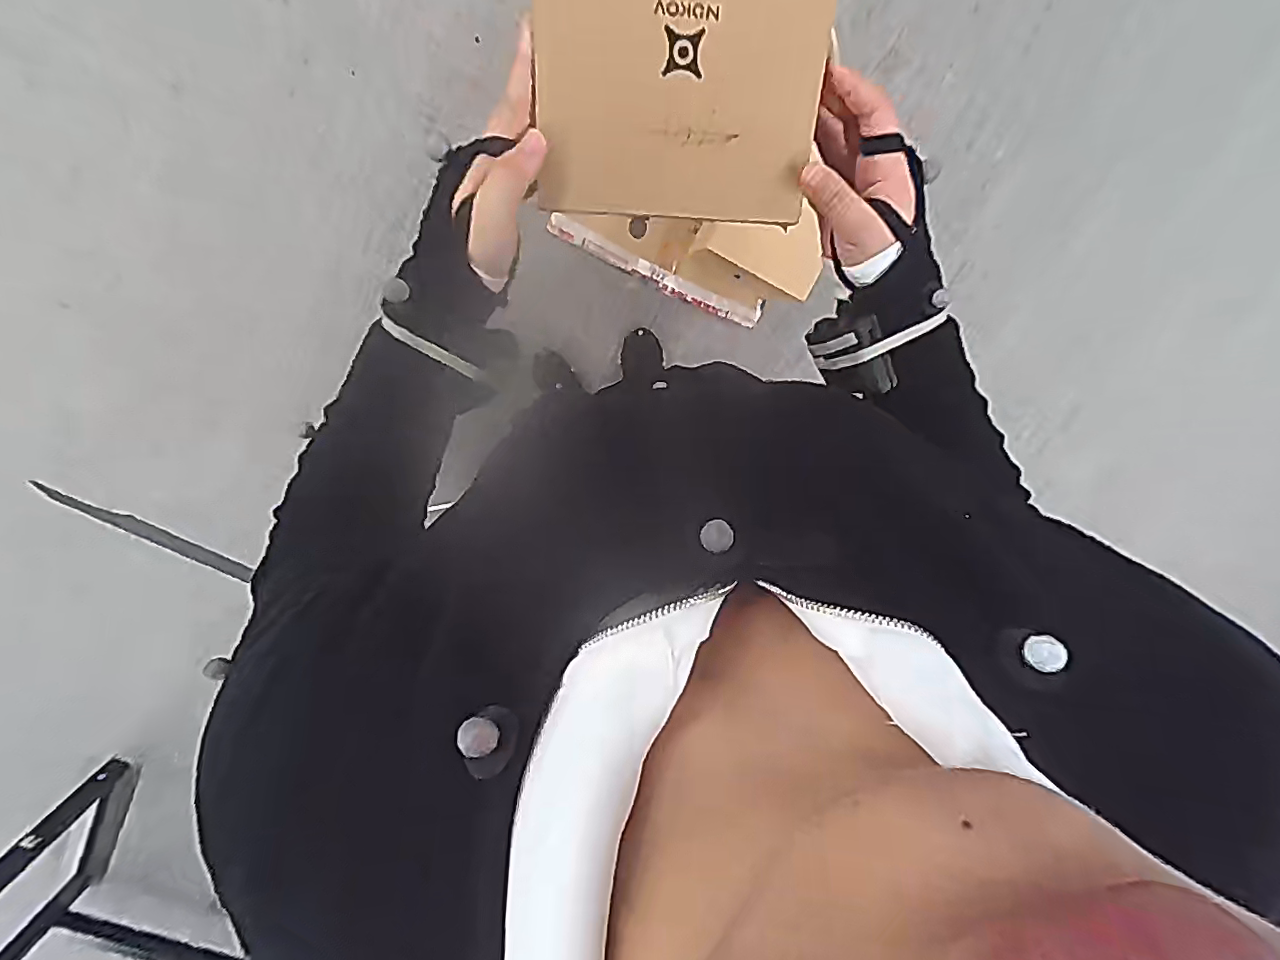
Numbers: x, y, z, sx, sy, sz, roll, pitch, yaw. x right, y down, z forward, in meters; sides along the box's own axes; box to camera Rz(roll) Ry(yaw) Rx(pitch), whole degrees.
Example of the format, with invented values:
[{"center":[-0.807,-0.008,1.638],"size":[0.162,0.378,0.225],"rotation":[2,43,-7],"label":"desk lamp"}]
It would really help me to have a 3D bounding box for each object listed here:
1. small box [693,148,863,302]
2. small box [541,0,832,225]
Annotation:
[{"center":[0.193,-0.389,0.822],"size":[0.168,0.176,0.179],"rotation":[24,105,-12],"label":"small box"},{"center":[0.018,-0.283,0.380],"size":[0.168,0.176,0.179],"rotation":[2,116,-5],"label":"small box"}]
